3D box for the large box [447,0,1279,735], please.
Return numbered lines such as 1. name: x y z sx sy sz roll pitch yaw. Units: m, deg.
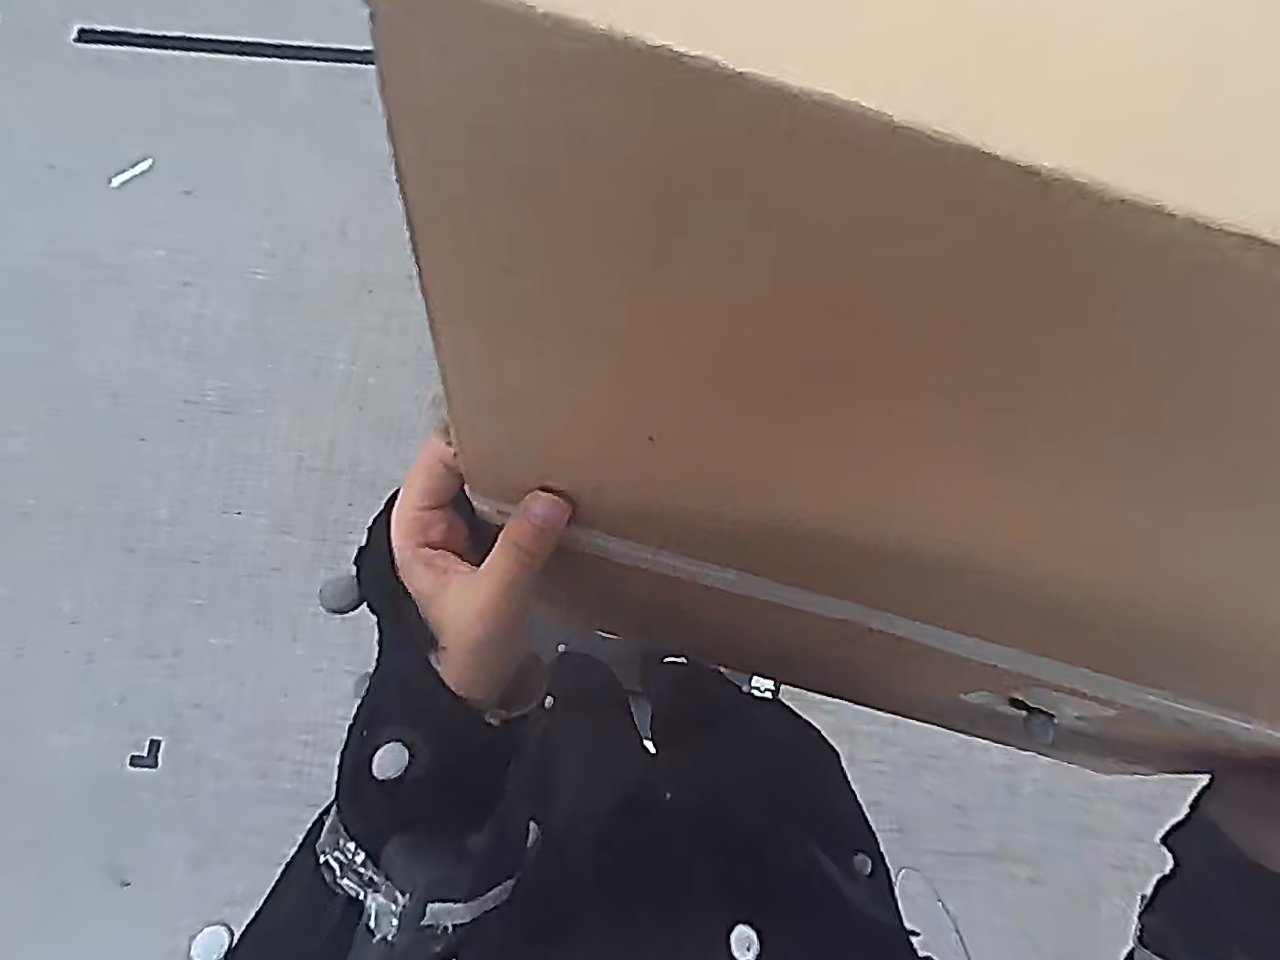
1. large box: 0.169 -0.092 0.277 0.408 0.320 0.320 15 60 -2
